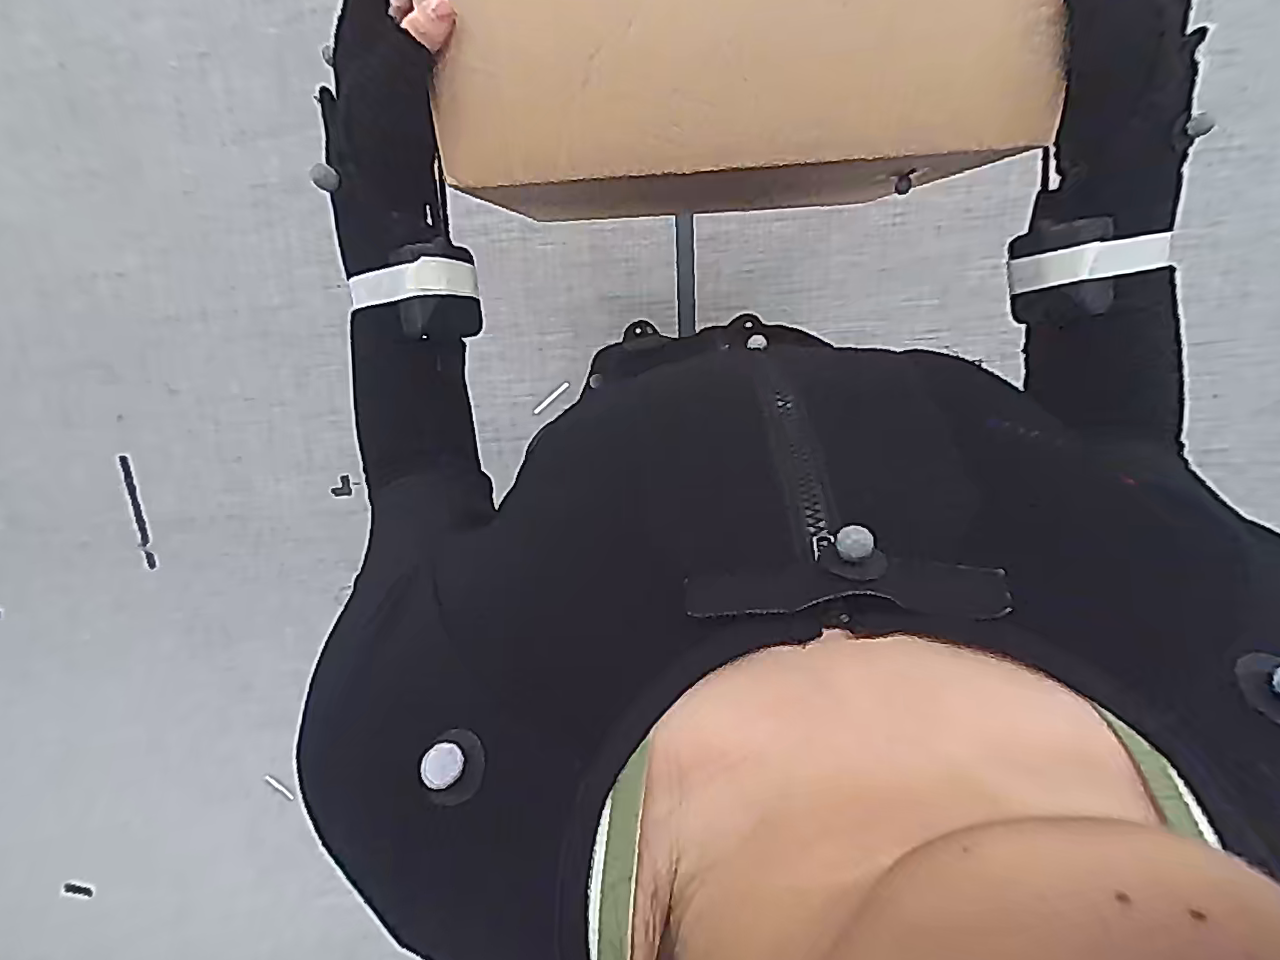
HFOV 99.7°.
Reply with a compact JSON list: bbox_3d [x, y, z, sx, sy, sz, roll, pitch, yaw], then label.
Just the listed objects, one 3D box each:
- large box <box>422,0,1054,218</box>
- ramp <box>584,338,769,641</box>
[{"bbox_3d":[0.060,-0.412,0.454,0.408,0.320,0.320,-3,111,1],"label":"large box"},{"bbox_3d":[0.128,0.088,1.626,0.509,0.206,0.991,-4,106,2],"label":"ramp"}]
